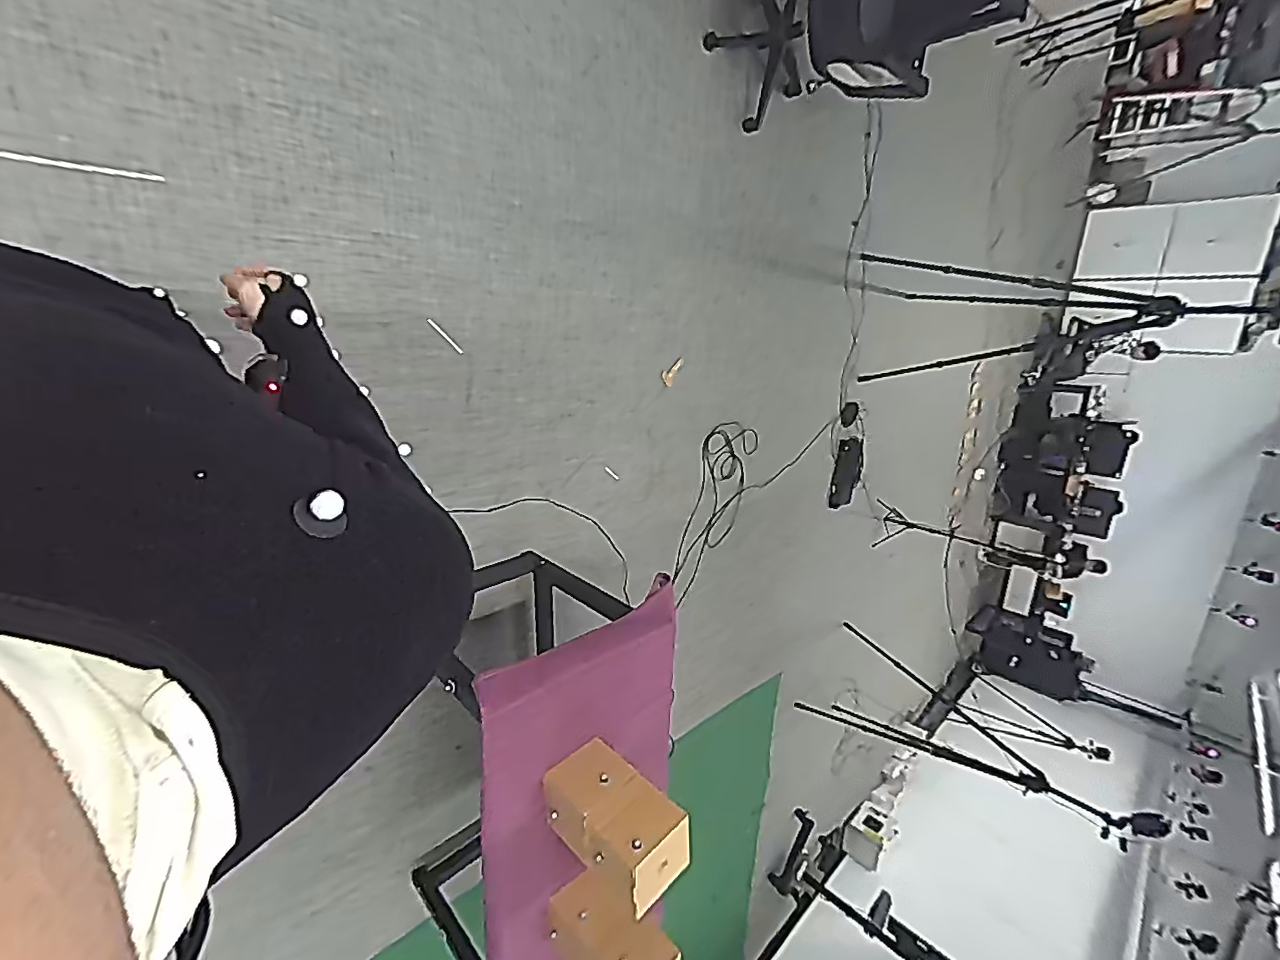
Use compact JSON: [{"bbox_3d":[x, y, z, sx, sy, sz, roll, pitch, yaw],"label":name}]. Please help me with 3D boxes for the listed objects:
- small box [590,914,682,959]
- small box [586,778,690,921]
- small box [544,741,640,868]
[{"bbox_3d":[-0.019,1.247,1.356,0.179,0.176,0.168,-10,109,-43],"label":"small box"},{"bbox_3d":[-0.004,0.836,1.245,0.179,0.176,0.168,-20,117,-39],"label":"small box"},{"bbox_3d":[-0.119,0.799,1.354,0.179,0.176,0.168,-18,114,-40],"label":"small box"}]
